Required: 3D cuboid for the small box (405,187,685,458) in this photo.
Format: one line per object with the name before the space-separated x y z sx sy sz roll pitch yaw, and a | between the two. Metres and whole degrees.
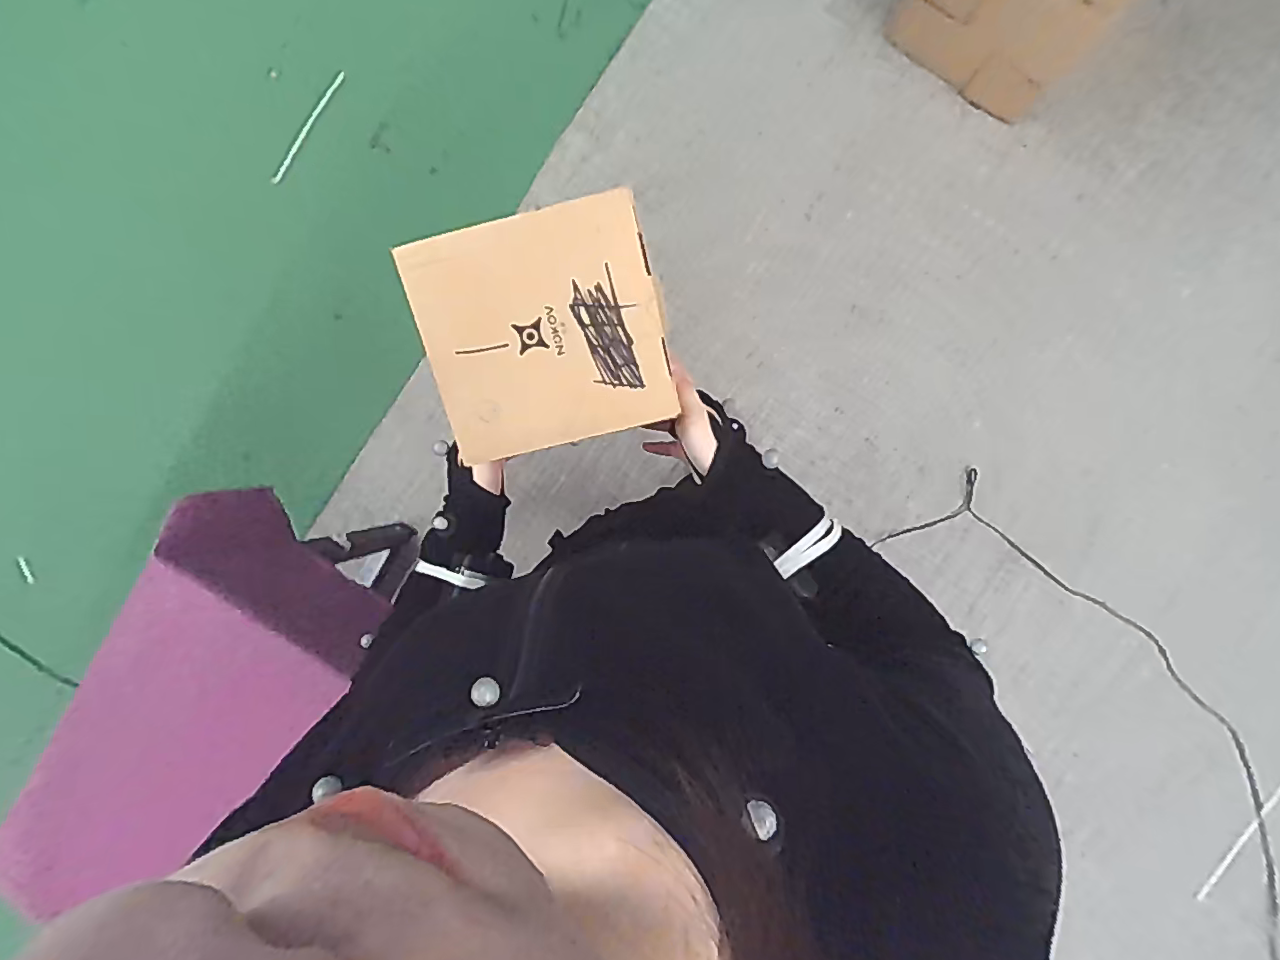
small box | -0.066 -0.131 0.473 0.179 0.176 0.168 -12 104 4
